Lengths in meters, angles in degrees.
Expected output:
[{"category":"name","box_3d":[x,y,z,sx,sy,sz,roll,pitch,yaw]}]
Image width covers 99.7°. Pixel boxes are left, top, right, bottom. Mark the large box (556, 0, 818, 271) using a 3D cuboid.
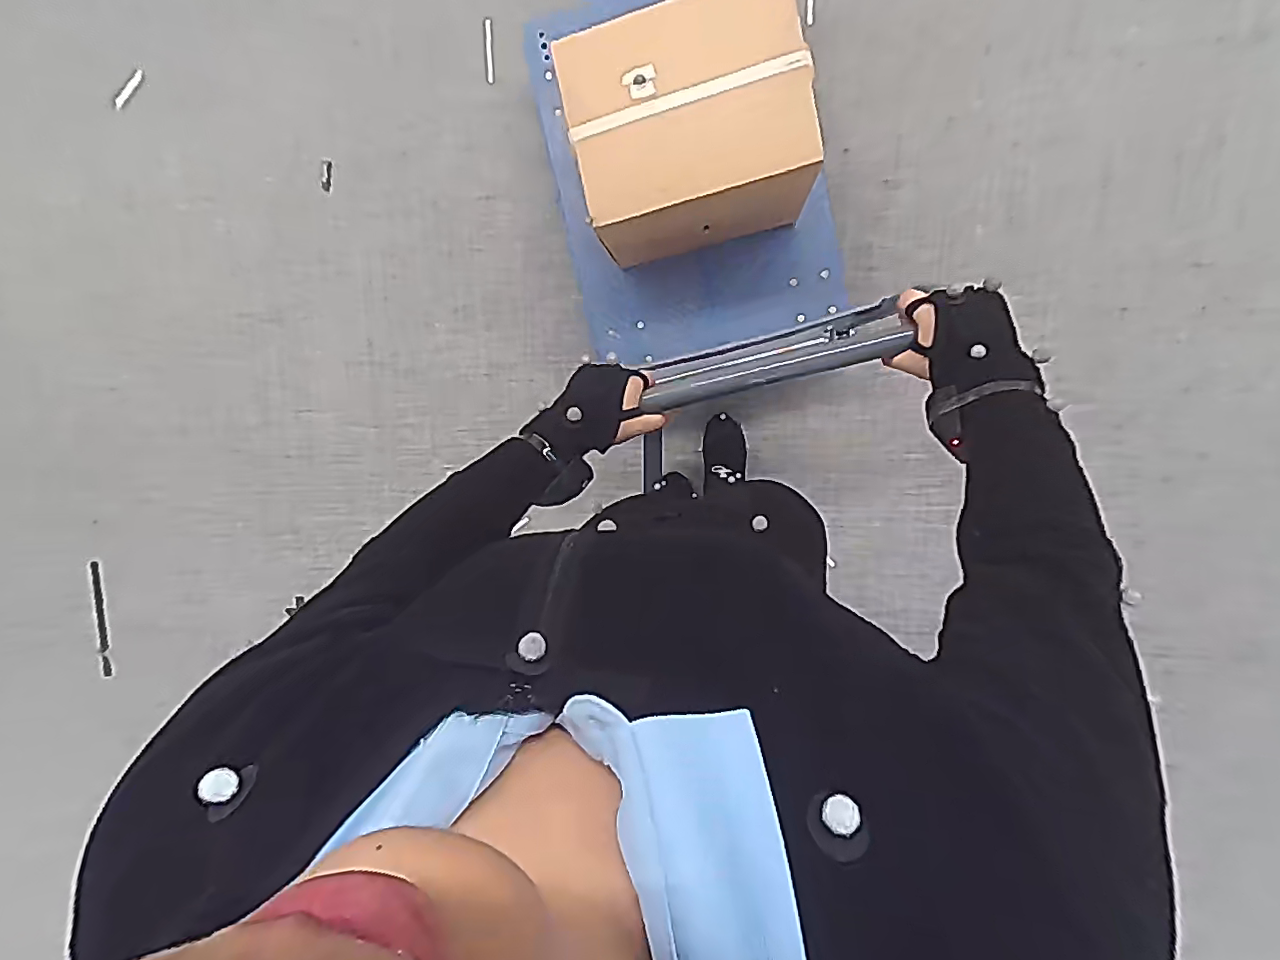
[{"category":"large box","box_3d":[0.098,-0.655,1.074,0.408,0.320,0.320,-13,95,10]}]
